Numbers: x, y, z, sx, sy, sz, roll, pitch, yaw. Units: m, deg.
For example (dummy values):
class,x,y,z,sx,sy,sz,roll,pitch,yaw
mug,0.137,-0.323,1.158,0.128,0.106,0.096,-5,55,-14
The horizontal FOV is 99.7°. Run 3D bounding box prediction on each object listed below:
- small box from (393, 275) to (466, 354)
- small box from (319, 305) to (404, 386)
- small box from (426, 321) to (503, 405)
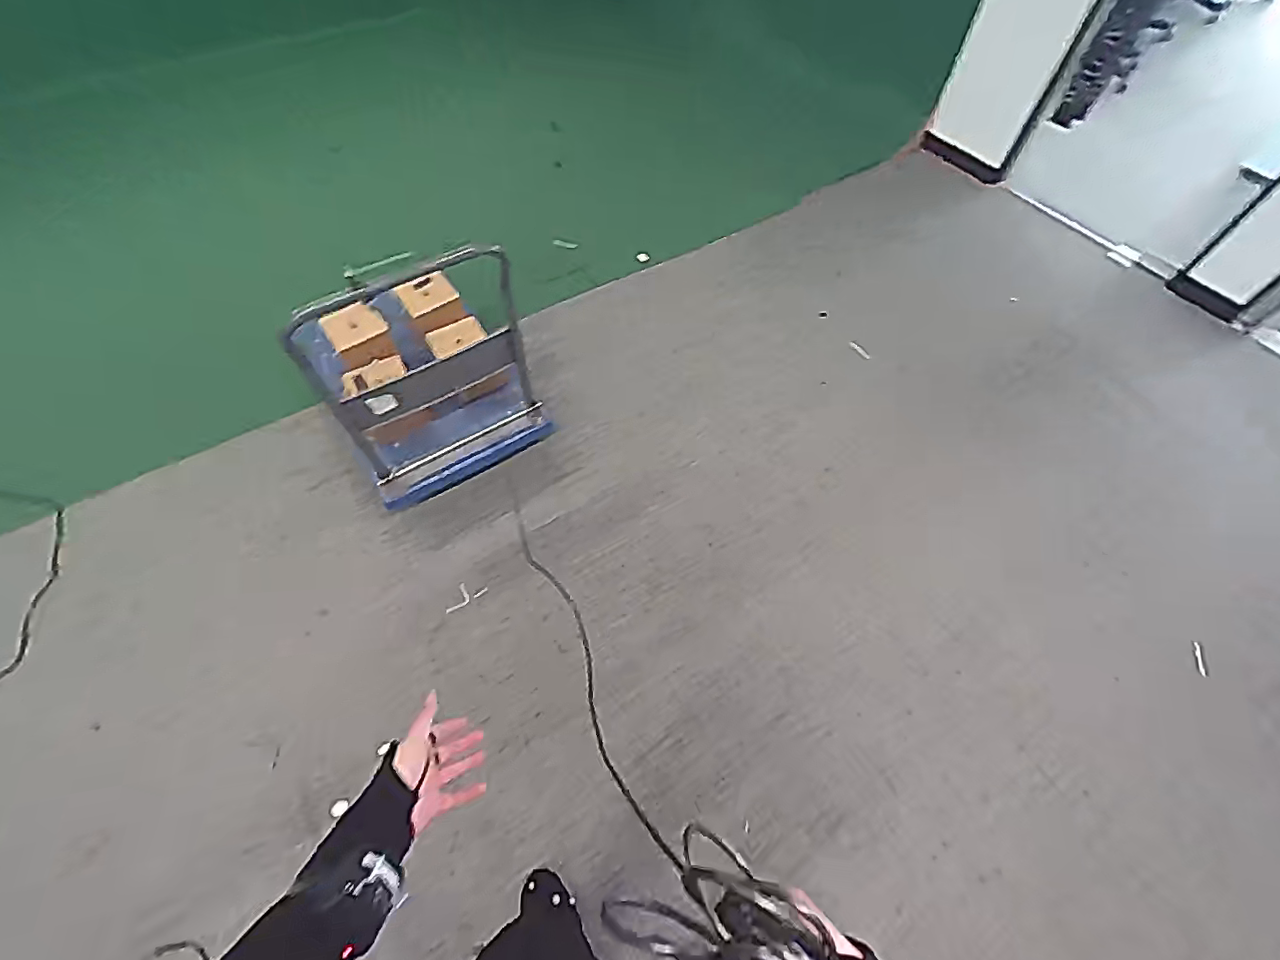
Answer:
class,x,y,z,sx,sy,sz,roll,pitch,yaw
small box,-0.721,-0.571,1.878,0.168,0.176,0.179,-34,66,-18
small box,-0.919,-0.438,1.796,0.168,0.176,0.179,-33,65,-20
small box,-0.569,-0.378,1.765,0.168,0.176,0.179,-29,64,-17
